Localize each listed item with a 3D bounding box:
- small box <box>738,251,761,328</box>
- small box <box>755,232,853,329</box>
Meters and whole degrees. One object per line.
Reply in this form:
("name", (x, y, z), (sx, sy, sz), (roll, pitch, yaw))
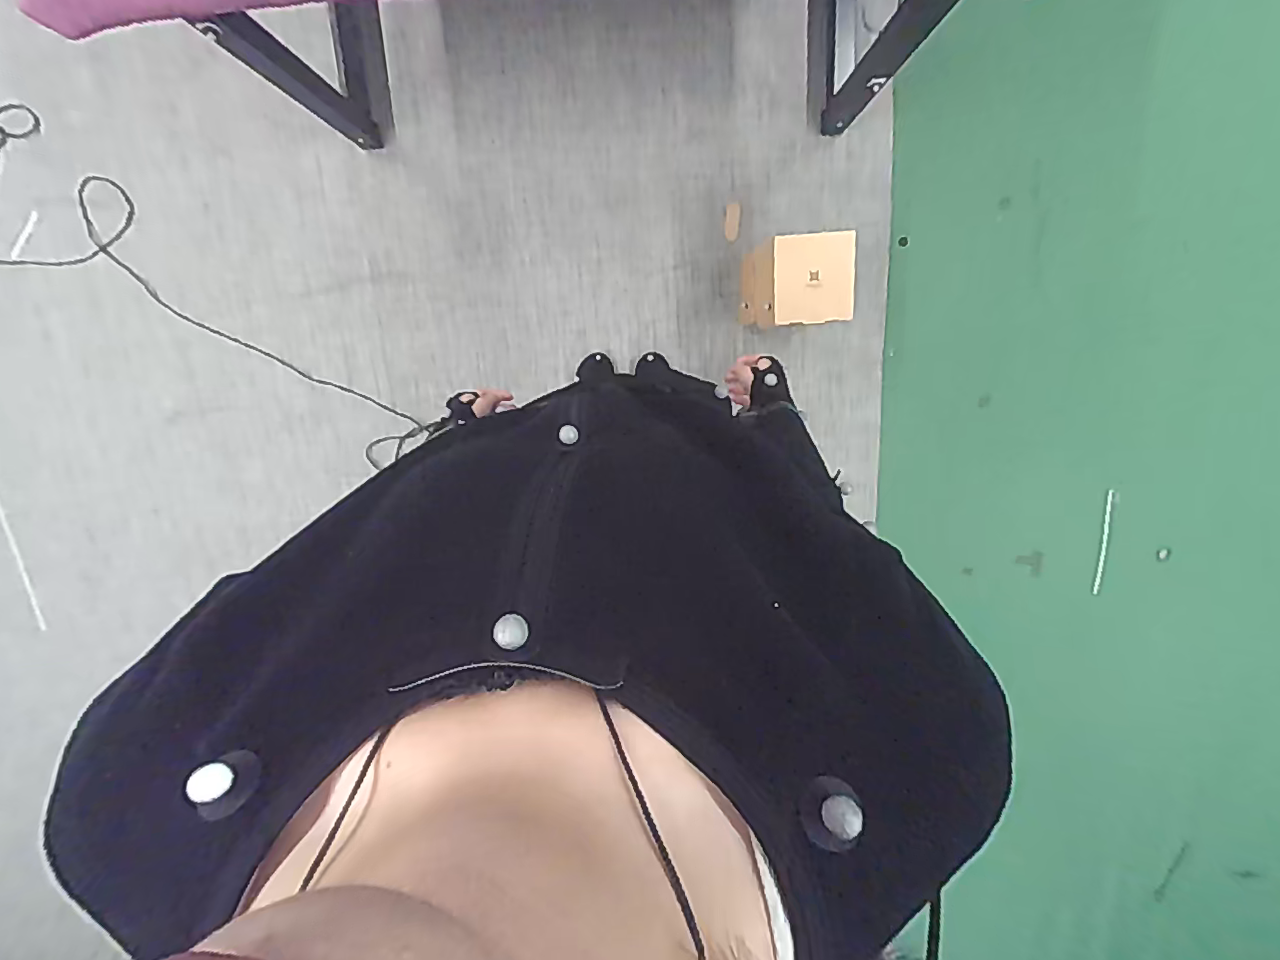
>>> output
("small box", (0.342, -0.465, 1.335), (0.179, 0.176, 0.168), (-1, 103, 0))
("small box", (0.348, -0.426, 1.178), (0.168, 0.176, 0.179), (-4, 105, 1))
